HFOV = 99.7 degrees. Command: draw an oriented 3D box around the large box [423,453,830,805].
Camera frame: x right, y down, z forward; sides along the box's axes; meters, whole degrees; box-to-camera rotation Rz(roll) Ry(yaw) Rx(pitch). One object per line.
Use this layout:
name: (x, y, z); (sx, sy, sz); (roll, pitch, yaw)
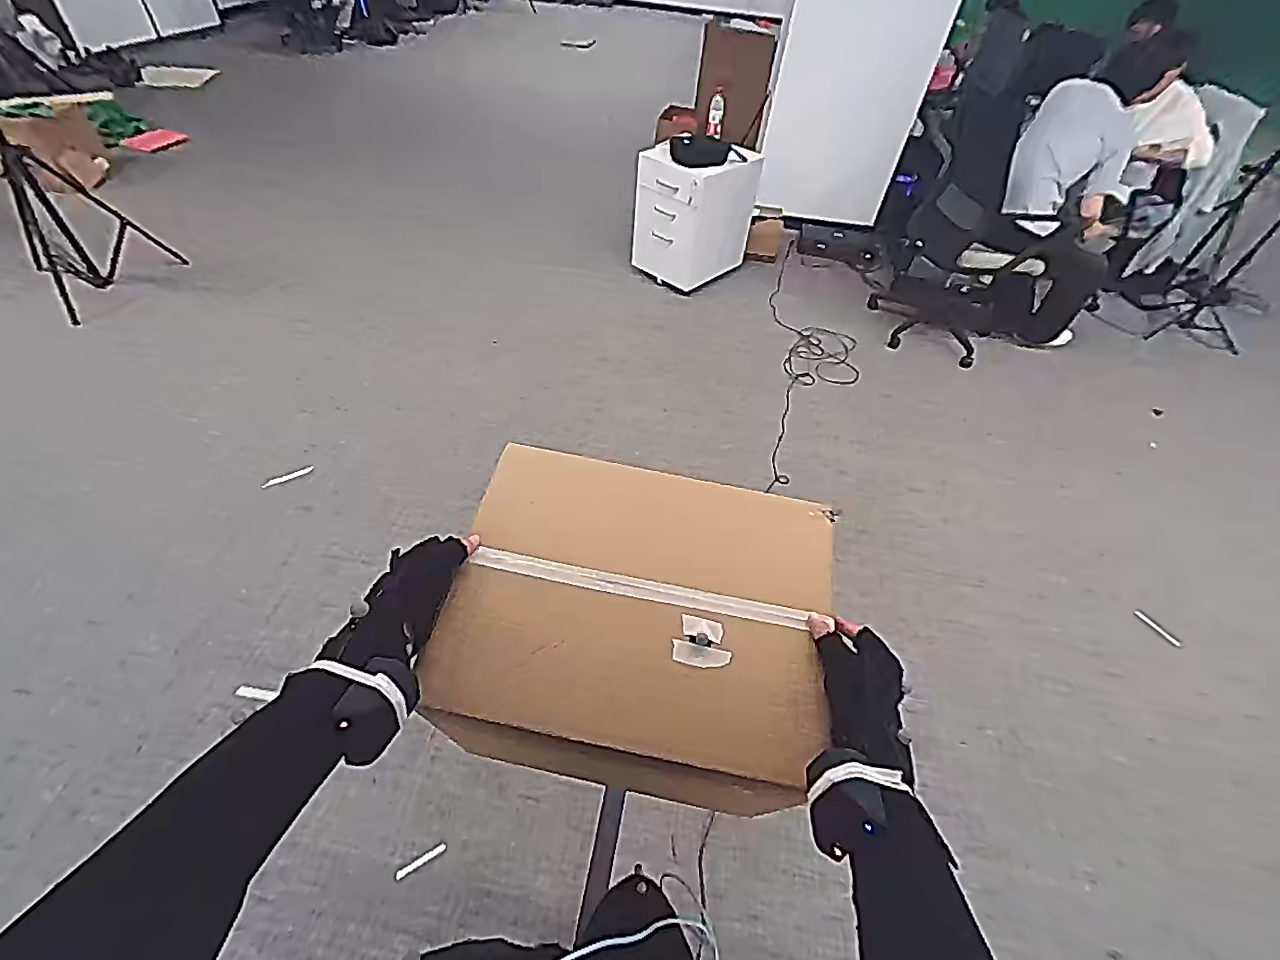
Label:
large box: (-0.005, 0.207, 0.716); (0.408, 0.320, 0.320); (12, 56, 2)
